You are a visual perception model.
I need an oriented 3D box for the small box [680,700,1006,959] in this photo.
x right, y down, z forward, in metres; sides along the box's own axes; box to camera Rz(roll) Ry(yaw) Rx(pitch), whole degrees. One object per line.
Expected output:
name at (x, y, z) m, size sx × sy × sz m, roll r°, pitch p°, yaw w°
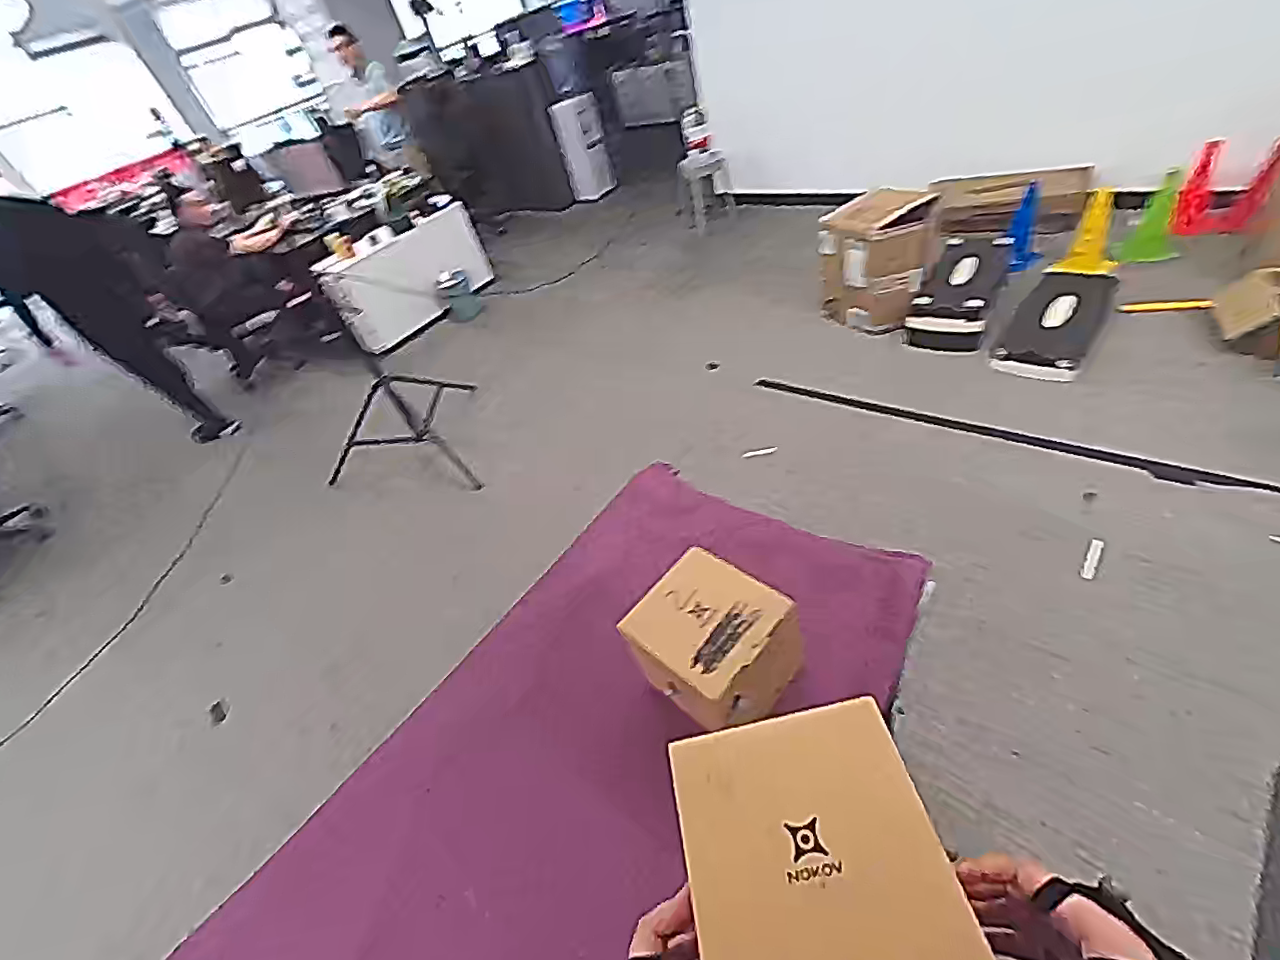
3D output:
small box at (0.135, 0.300, 0.405) m, size 0.168 × 0.176 × 0.179 m, roll -15°, pitch 40°, yaw 4°
